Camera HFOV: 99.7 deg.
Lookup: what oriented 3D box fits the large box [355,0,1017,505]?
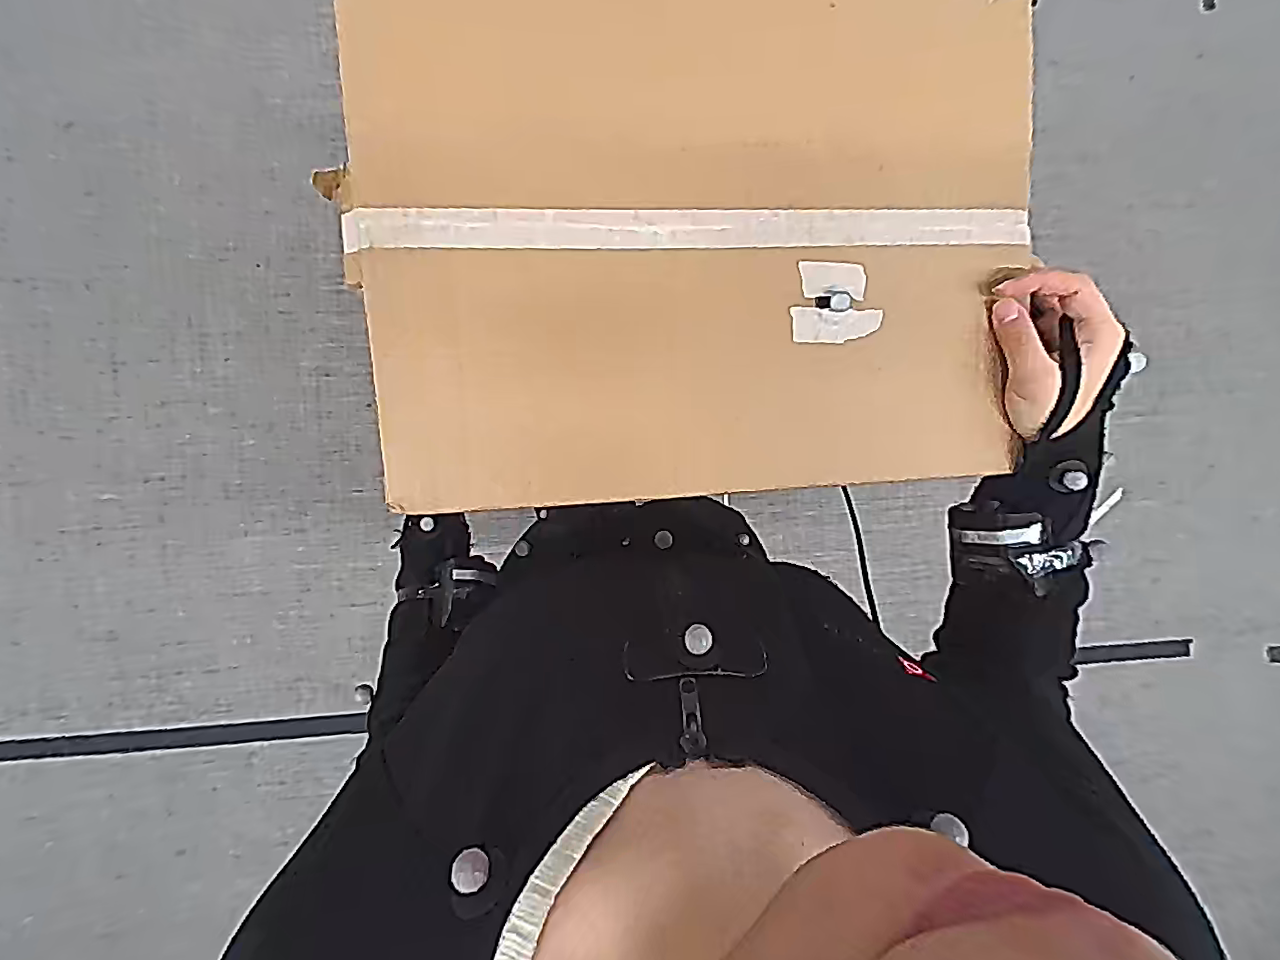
[{"bbox_3d":[0.024,-0.165,0.473,0.408,0.320,0.320,-4,97,-10],"label":"large box"}]
